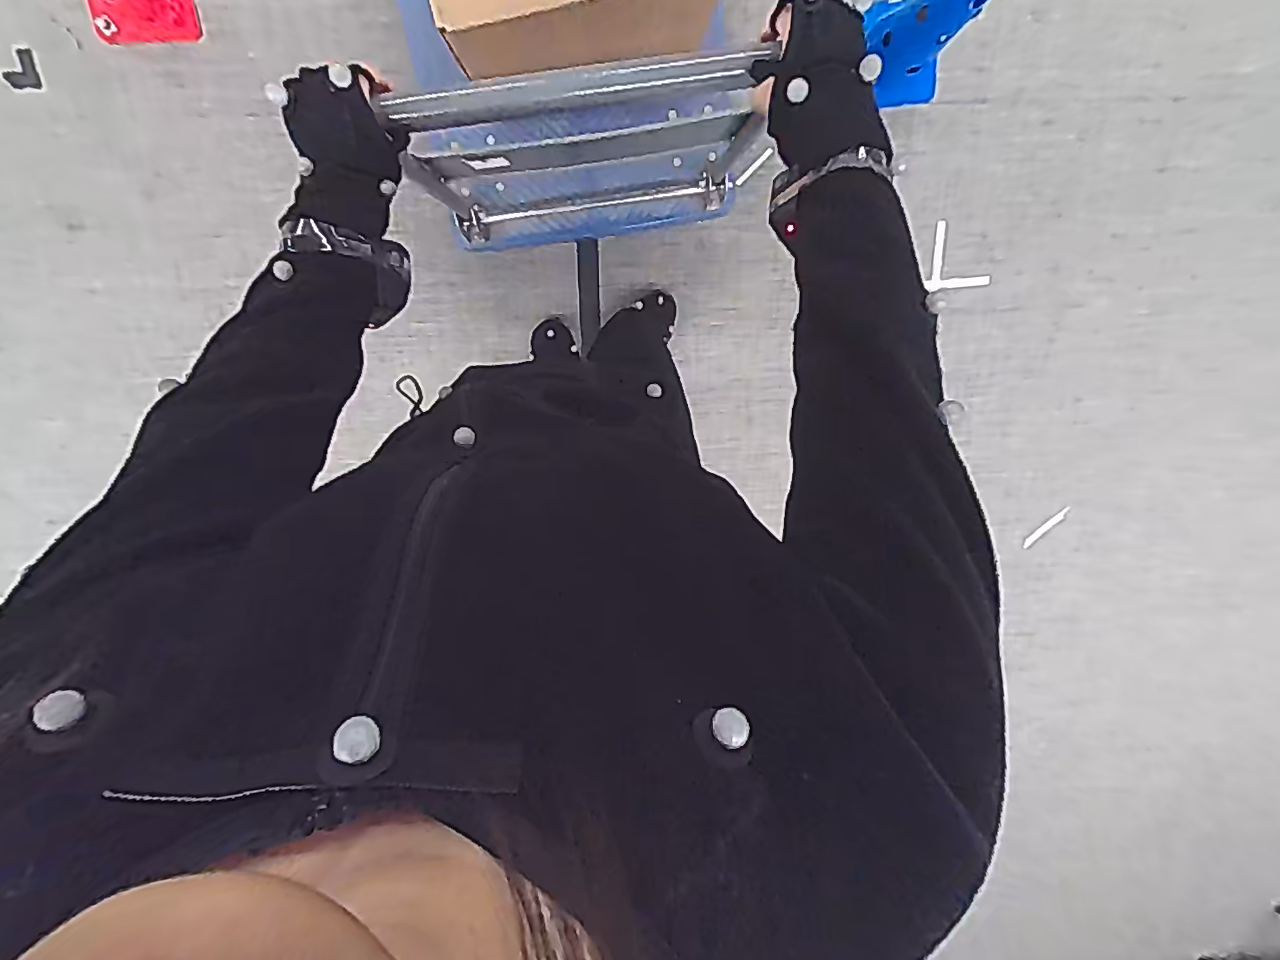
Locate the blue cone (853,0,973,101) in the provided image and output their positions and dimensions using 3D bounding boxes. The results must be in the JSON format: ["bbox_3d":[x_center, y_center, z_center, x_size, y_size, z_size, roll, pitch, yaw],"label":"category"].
[{"bbox_3d":[0.569,-0.887,1.019,0.193,0.380,0.192,-6,108,-3],"label":"blue cone"}]
